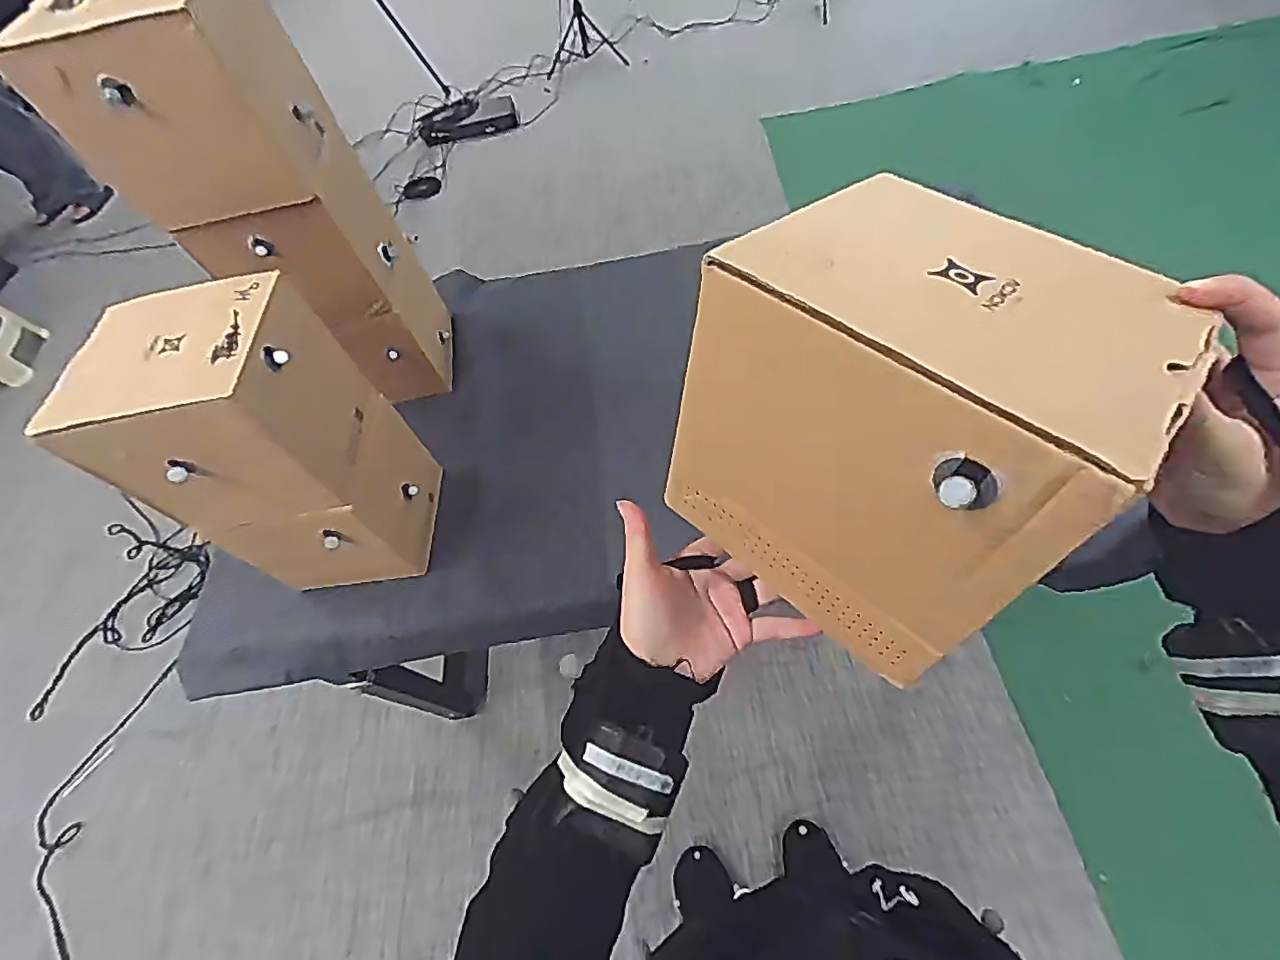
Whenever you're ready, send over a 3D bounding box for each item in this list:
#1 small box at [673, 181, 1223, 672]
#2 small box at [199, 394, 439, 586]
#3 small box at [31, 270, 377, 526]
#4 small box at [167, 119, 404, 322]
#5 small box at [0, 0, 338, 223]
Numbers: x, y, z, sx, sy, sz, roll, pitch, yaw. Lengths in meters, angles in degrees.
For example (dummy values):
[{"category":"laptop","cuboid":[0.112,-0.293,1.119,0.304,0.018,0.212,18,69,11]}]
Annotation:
[{"category":"small box","cuboid":[0.136,-0.032,0.295,0.179,0.176,0.168,38,55,24]},{"category":"small box","cuboid":[-0.371,0.019,0.668,0.179,0.176,0.168,-8,56,5]},{"category":"small box","cuboid":[-0.397,-0.071,0.534,0.179,0.176,0.168,-11,57,3]},{"category":"small box","cuboid":[-0.428,-0.313,0.688,0.179,0.176,0.168,-12,61,0]},{"category":"small box","cuboid":[-0.445,-0.387,0.541,0.179,0.176,0.168,-10,61,2]}]
